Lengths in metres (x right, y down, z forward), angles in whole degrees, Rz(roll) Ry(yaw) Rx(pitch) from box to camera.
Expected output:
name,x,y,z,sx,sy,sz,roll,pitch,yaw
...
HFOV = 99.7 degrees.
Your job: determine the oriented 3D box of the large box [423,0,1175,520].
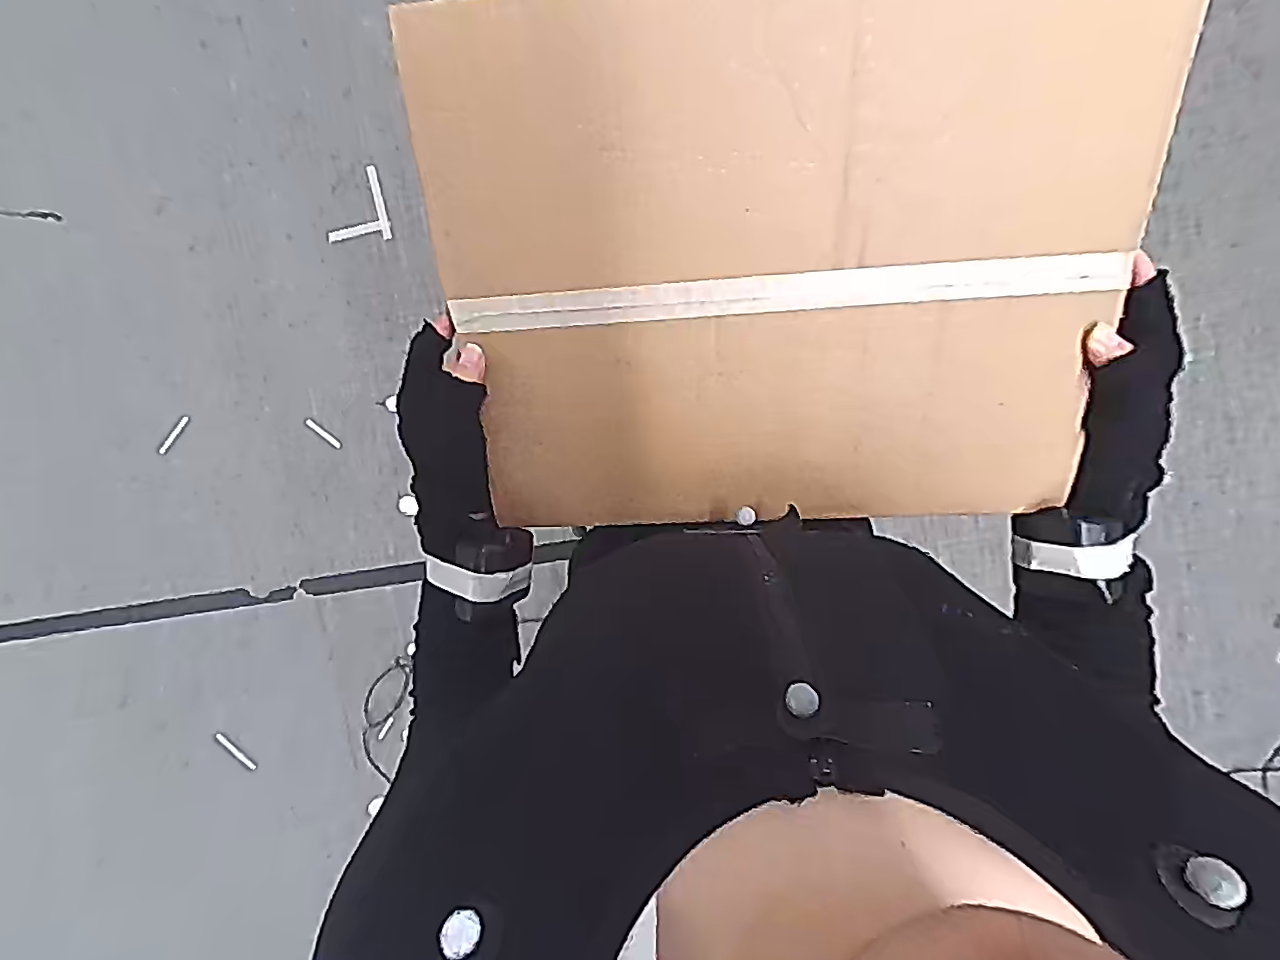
name,x,y,z,sx,sy,sz,roll,pitch,yaw
large box,0.092,-0.178,0.479,0.408,0.320,0.320,-2,116,4
